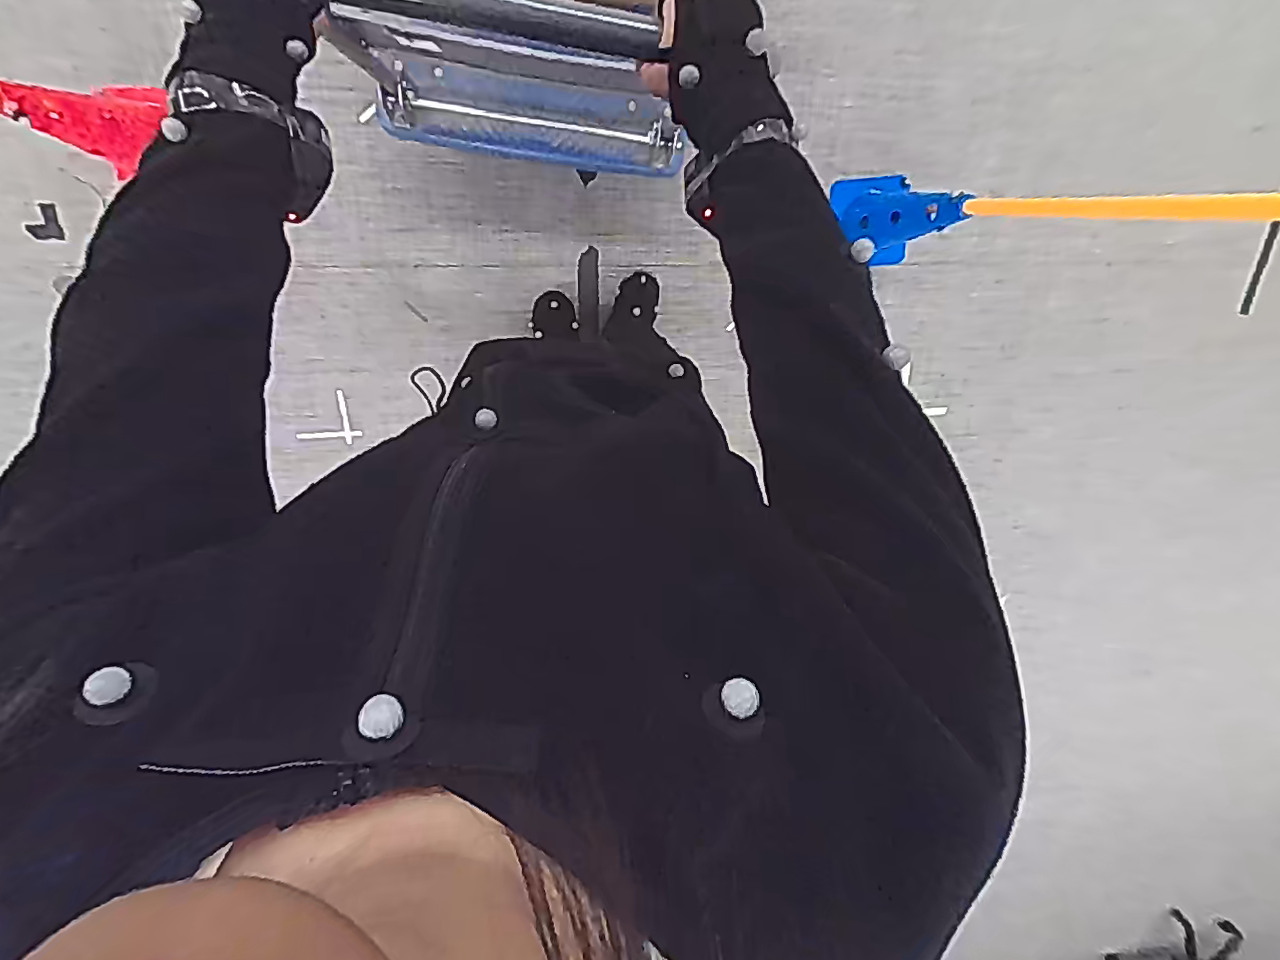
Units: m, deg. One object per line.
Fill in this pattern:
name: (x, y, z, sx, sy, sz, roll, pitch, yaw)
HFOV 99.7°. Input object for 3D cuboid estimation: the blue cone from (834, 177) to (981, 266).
blue cone: (0.582, -0.569, 1.160, 0.193, 0.380, 0.192, -6, 110, -6)
